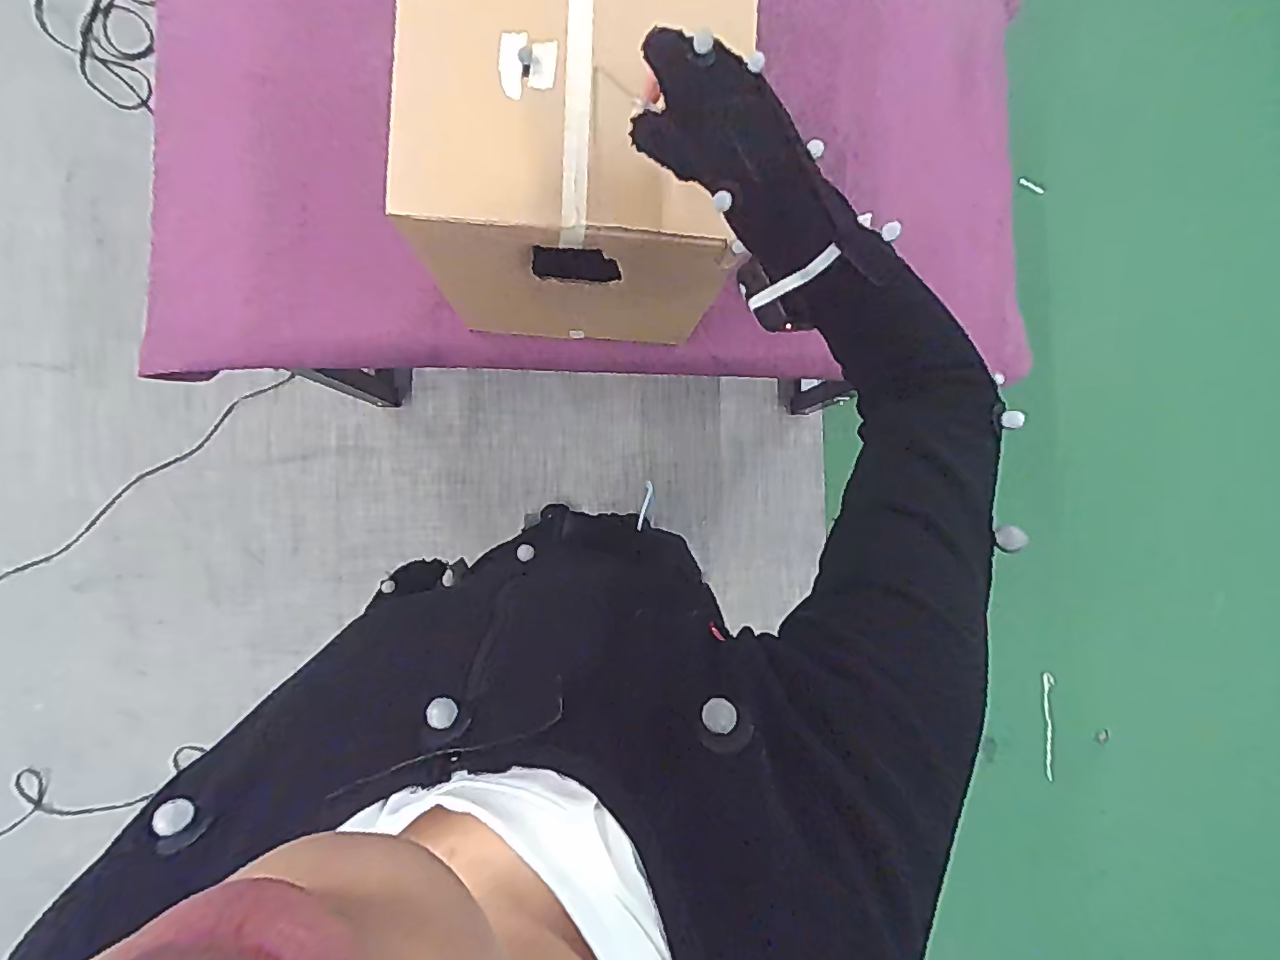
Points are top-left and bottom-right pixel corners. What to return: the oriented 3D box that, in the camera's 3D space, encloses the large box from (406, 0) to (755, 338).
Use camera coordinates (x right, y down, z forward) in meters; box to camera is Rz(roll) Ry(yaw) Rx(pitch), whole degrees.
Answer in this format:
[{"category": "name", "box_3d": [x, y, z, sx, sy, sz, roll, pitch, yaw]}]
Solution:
[{"category": "large box", "box_3d": [-0.063, -0.416, 0.636, 0.320, 0.320, 0.408, 3, 89, -6]}]
